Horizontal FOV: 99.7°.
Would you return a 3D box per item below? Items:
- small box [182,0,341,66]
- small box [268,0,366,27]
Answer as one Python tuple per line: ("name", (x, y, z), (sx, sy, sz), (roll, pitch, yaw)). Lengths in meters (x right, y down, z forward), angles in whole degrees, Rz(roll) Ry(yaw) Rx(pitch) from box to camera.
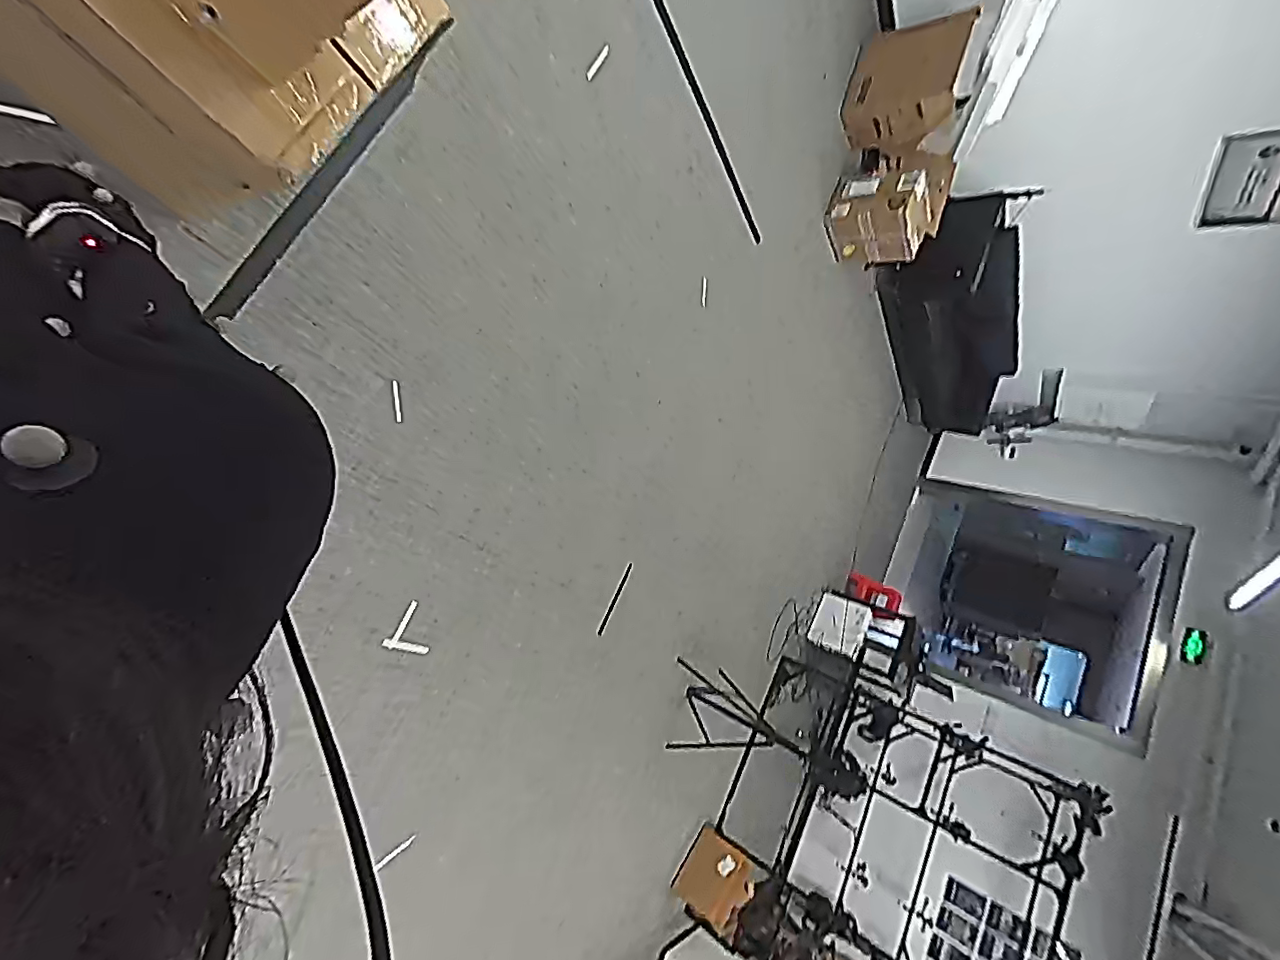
("small box", (-0.442, -0.615, 0.612), (0.179, 0.176, 0.168), (35, 75, -51))
("small box", (-0.319, -0.577, 0.509), (0.179, 0.176, 0.168), (42, 70, -48))
